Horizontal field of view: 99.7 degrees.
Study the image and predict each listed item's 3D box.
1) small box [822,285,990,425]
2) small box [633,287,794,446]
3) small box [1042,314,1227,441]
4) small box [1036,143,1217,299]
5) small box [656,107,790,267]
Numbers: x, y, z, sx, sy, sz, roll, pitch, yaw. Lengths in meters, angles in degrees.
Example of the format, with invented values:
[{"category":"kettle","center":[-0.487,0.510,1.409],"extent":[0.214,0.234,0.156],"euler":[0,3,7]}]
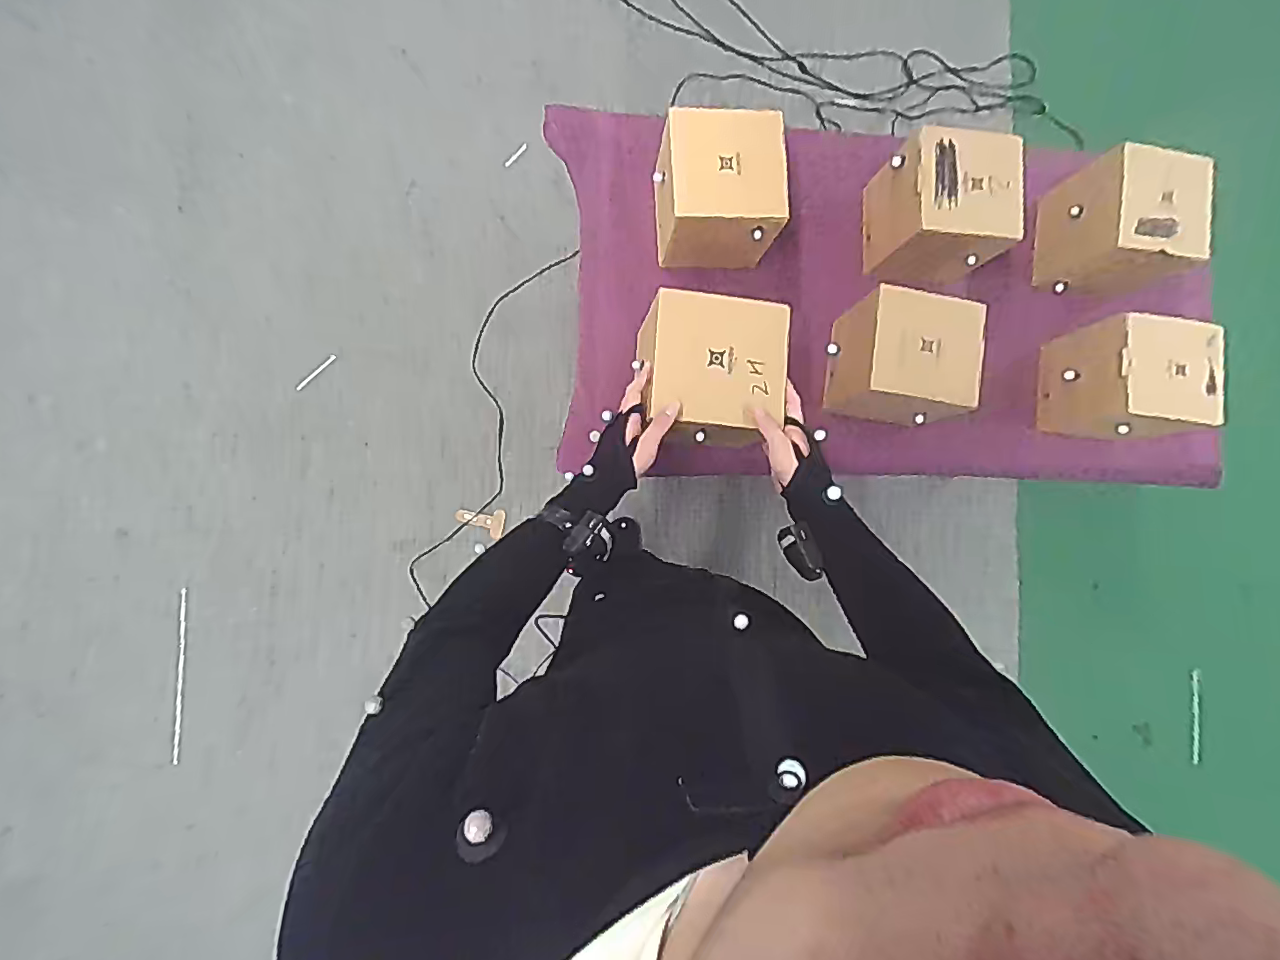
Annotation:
[{"category":"small box","center":[0.424,-0.192,0.883],"extent":[0.179,0.176,0.168],"euler":[9,84,-5]},{"category":"small box","center":[0.089,-0.141,0.740],"extent":[0.179,0.176,0.168],"euler":[6,87,-9]},{"category":"small box","center":[0.832,-0.165,0.925],"extent":[0.179,0.176,0.168],"euler":[6,85,-5]},{"category":"small box","center":[0.831,-0.436,0.940],"extent":[0.168,0.176,0.179],"euler":[7,86,-6]},{"category":"small box","center":[0.121,-0.455,0.864],"extent":[0.179,0.176,0.168],"euler":[-3,87,-7]}]
